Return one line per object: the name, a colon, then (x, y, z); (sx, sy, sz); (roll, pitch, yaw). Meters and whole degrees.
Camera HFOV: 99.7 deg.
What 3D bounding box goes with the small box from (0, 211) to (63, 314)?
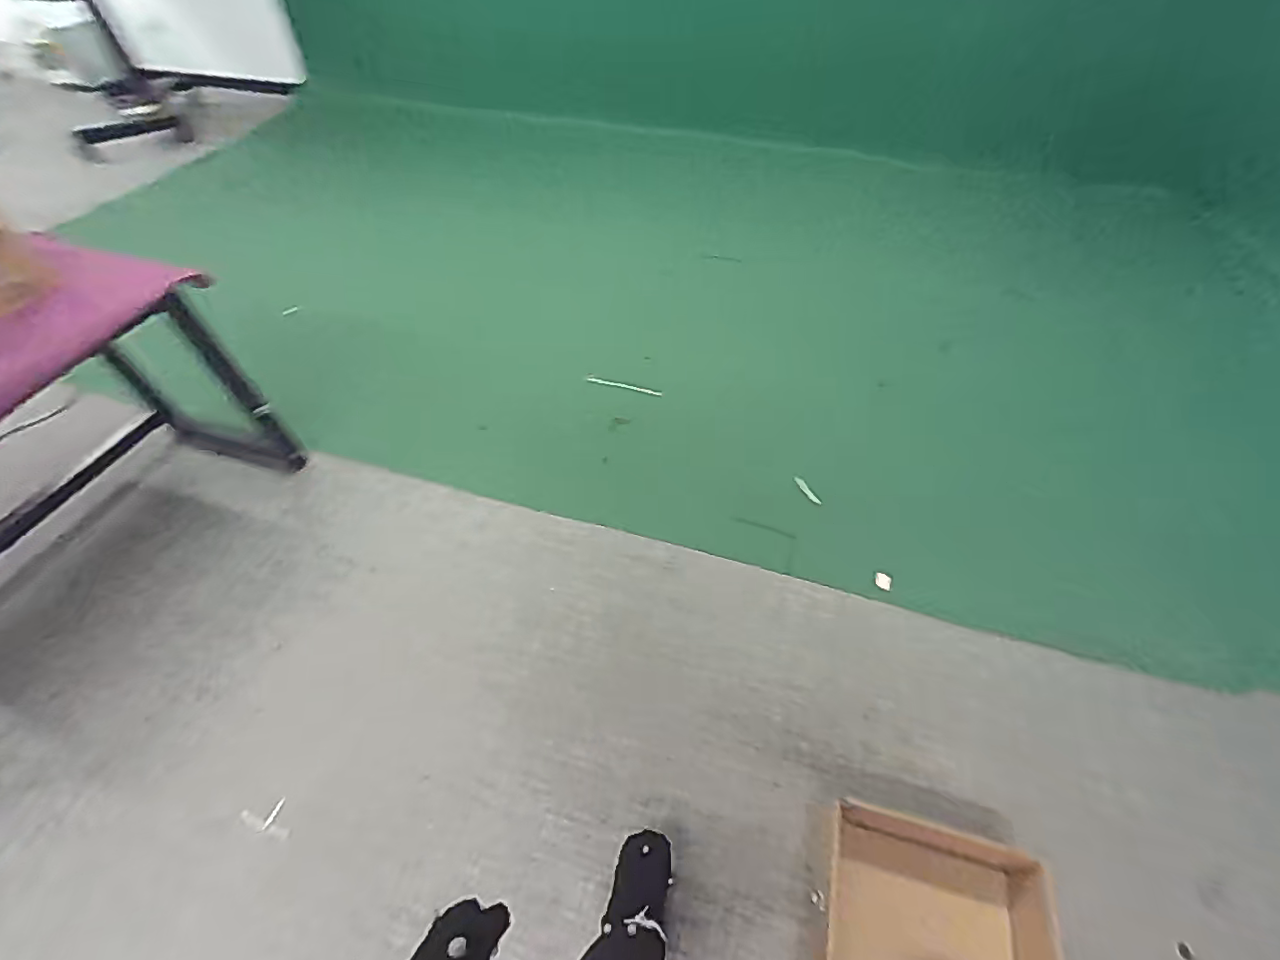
small box: (-1.498, -0.496, 1.218); (0.179, 0.176, 0.168); (13, 54, 10)
